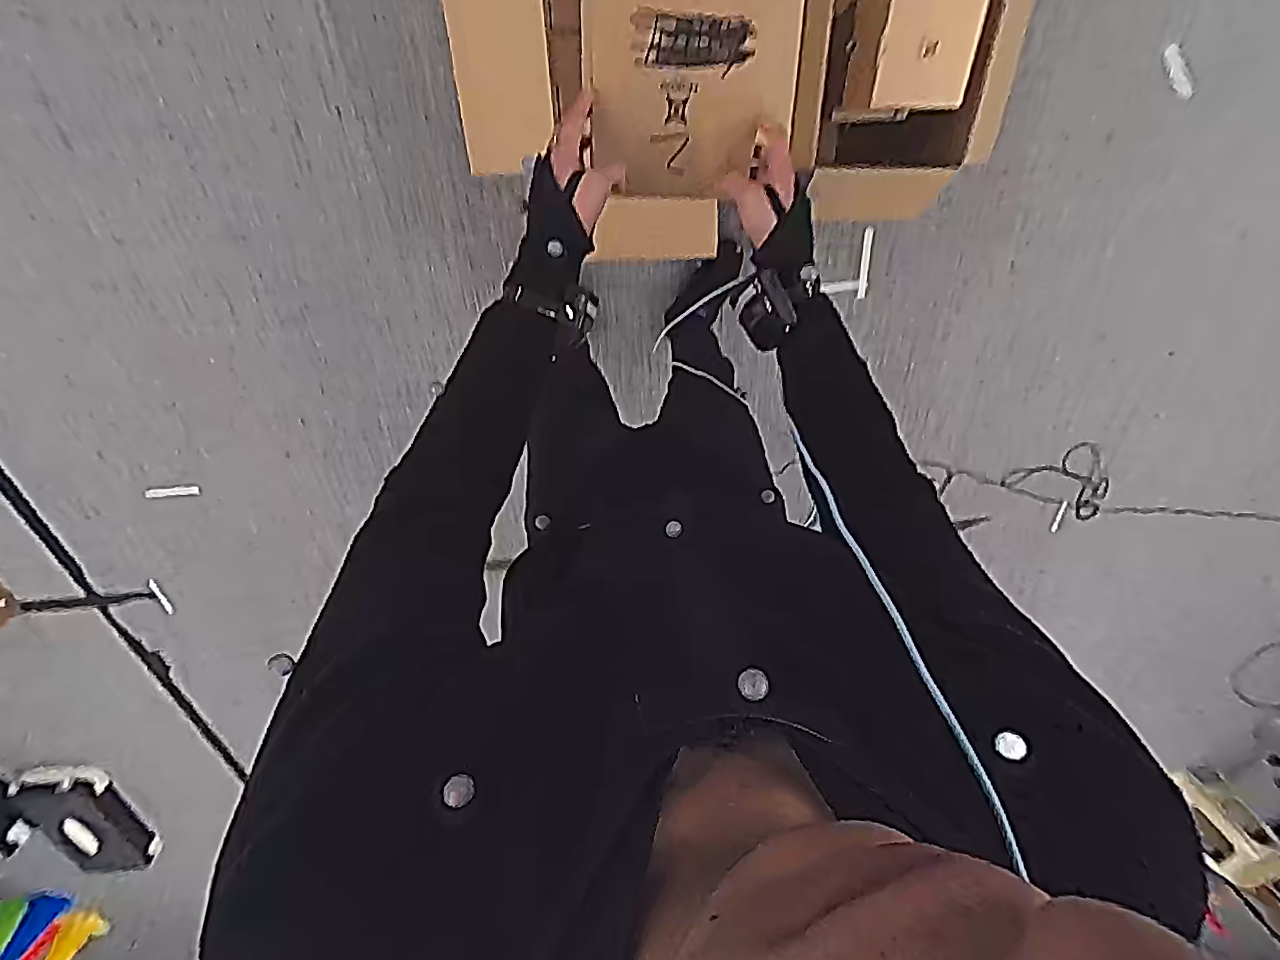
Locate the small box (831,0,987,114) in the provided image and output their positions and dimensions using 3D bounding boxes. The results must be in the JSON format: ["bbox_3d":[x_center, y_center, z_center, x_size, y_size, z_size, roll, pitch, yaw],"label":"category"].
[{"bbox_3d":[0.481,-0.774,0.994,0.179,0.176,0.168,-4,124,-5],"label":"small box"}]
